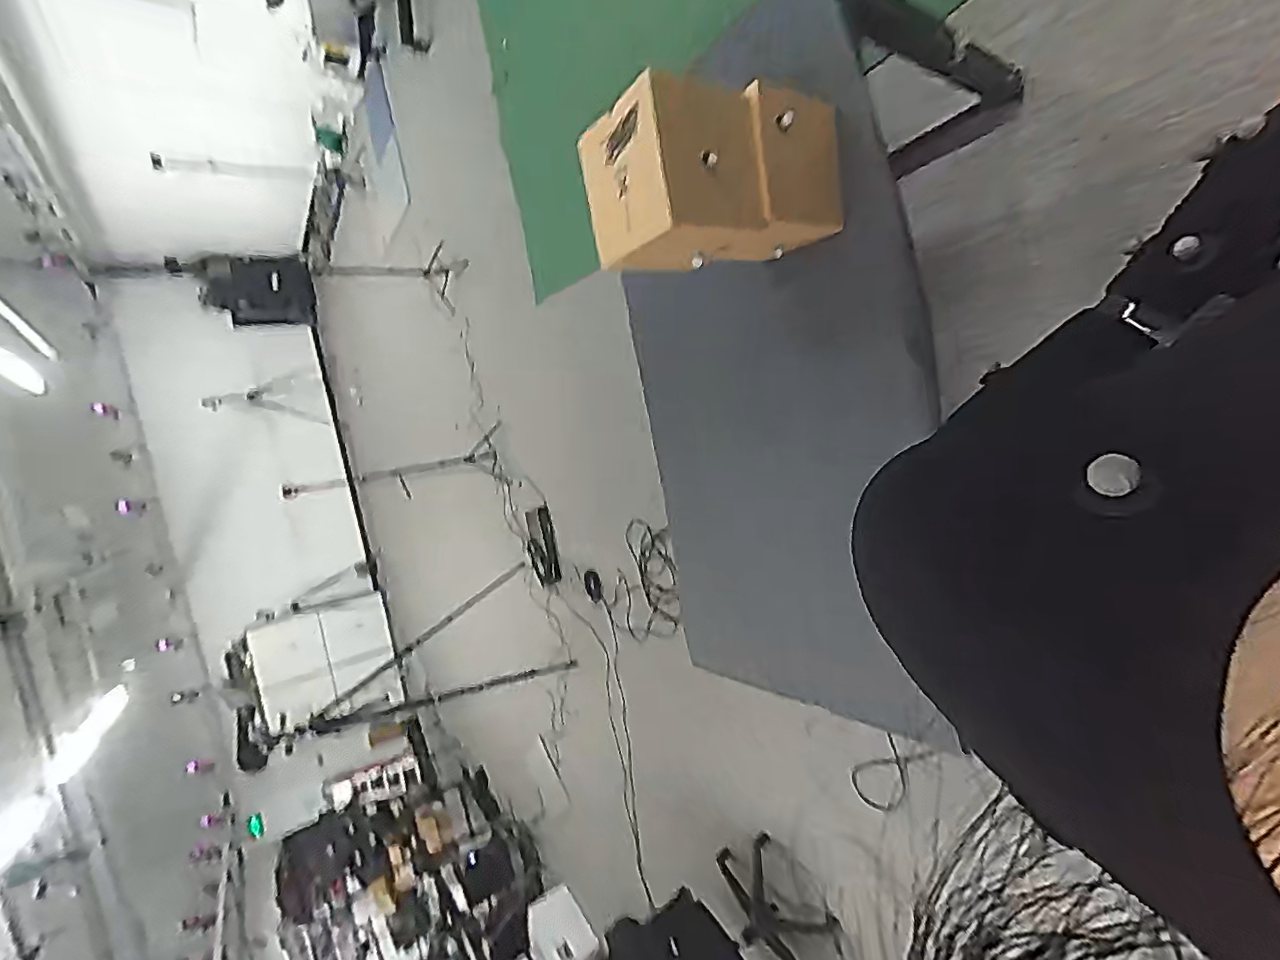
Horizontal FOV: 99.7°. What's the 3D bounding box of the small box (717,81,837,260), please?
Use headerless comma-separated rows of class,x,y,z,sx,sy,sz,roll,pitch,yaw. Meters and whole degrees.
small box,0.170,-0.441,0.805,0.168,0.176,0.179,2,105,54

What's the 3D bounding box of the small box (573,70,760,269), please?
small box,0.036,-0.392,0.722,0.168,0.176,0.179,0,103,54
